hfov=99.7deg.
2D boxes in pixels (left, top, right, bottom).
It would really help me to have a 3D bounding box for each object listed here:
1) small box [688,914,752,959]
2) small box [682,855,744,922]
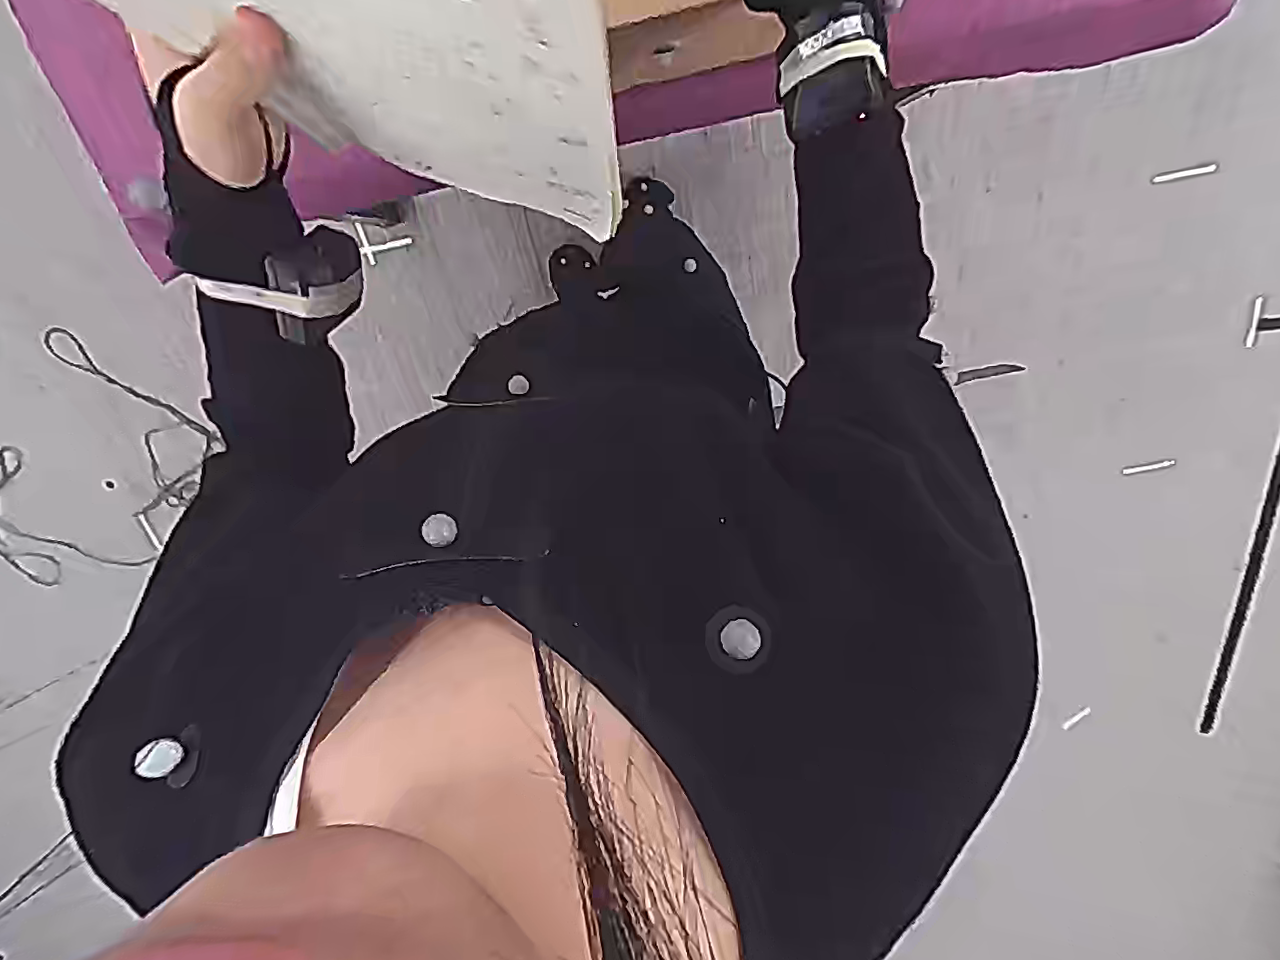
[{"bbox_3d":[0.234,1.376,1.540,0.168,0.176,0.179,-9,111,1],"label":"small box"},{"bbox_3d":[0.225,1.305,1.688,0.168,0.176,0.179,-6,113,0],"label":"small box"}]
